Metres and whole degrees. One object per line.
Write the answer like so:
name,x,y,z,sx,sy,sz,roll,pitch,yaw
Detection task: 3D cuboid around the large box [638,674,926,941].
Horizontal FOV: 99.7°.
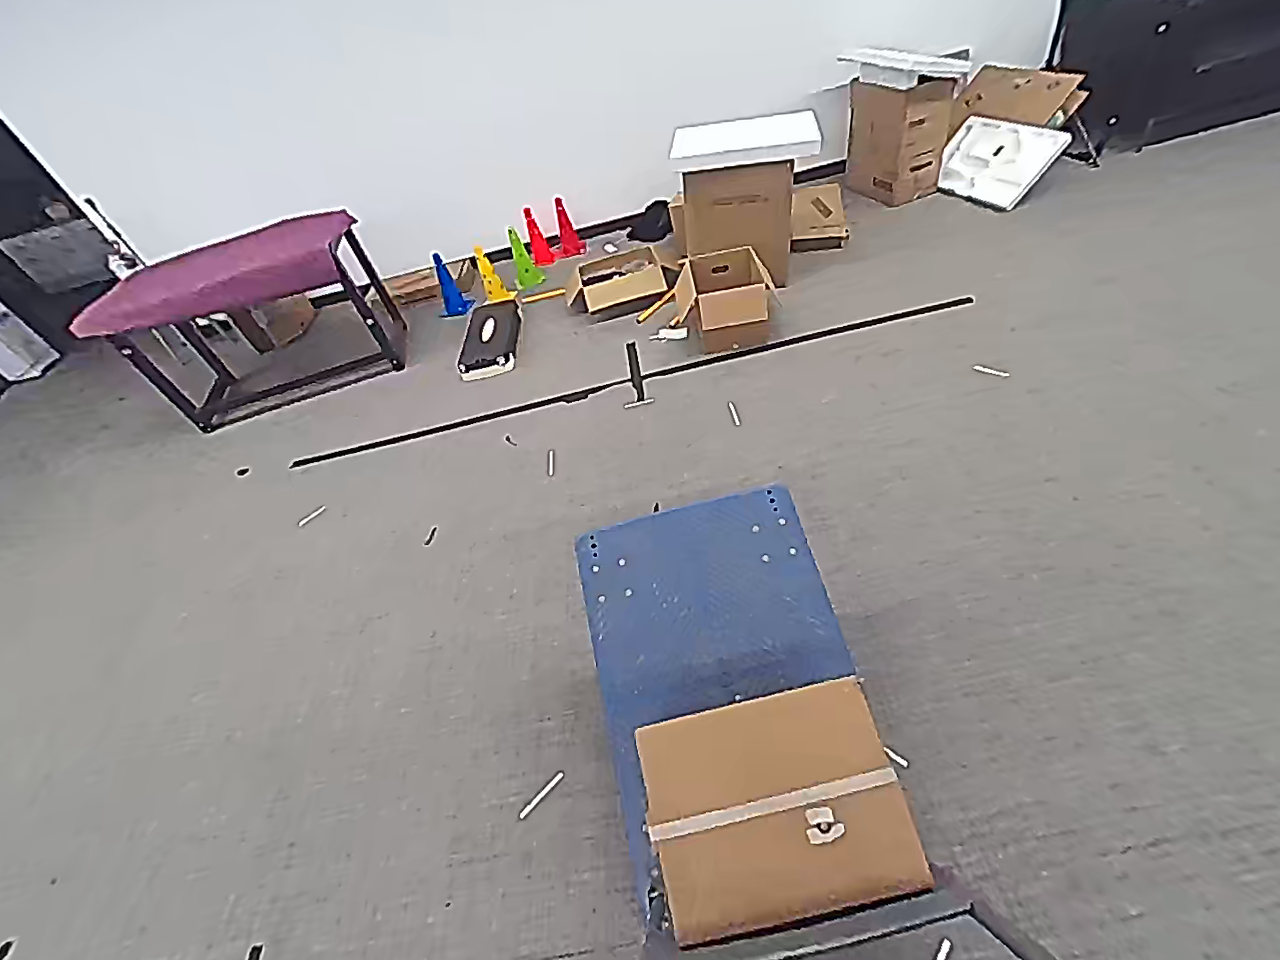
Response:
large box,0.236,0.593,1.035,0.408,0.320,0.320,-15,66,0
